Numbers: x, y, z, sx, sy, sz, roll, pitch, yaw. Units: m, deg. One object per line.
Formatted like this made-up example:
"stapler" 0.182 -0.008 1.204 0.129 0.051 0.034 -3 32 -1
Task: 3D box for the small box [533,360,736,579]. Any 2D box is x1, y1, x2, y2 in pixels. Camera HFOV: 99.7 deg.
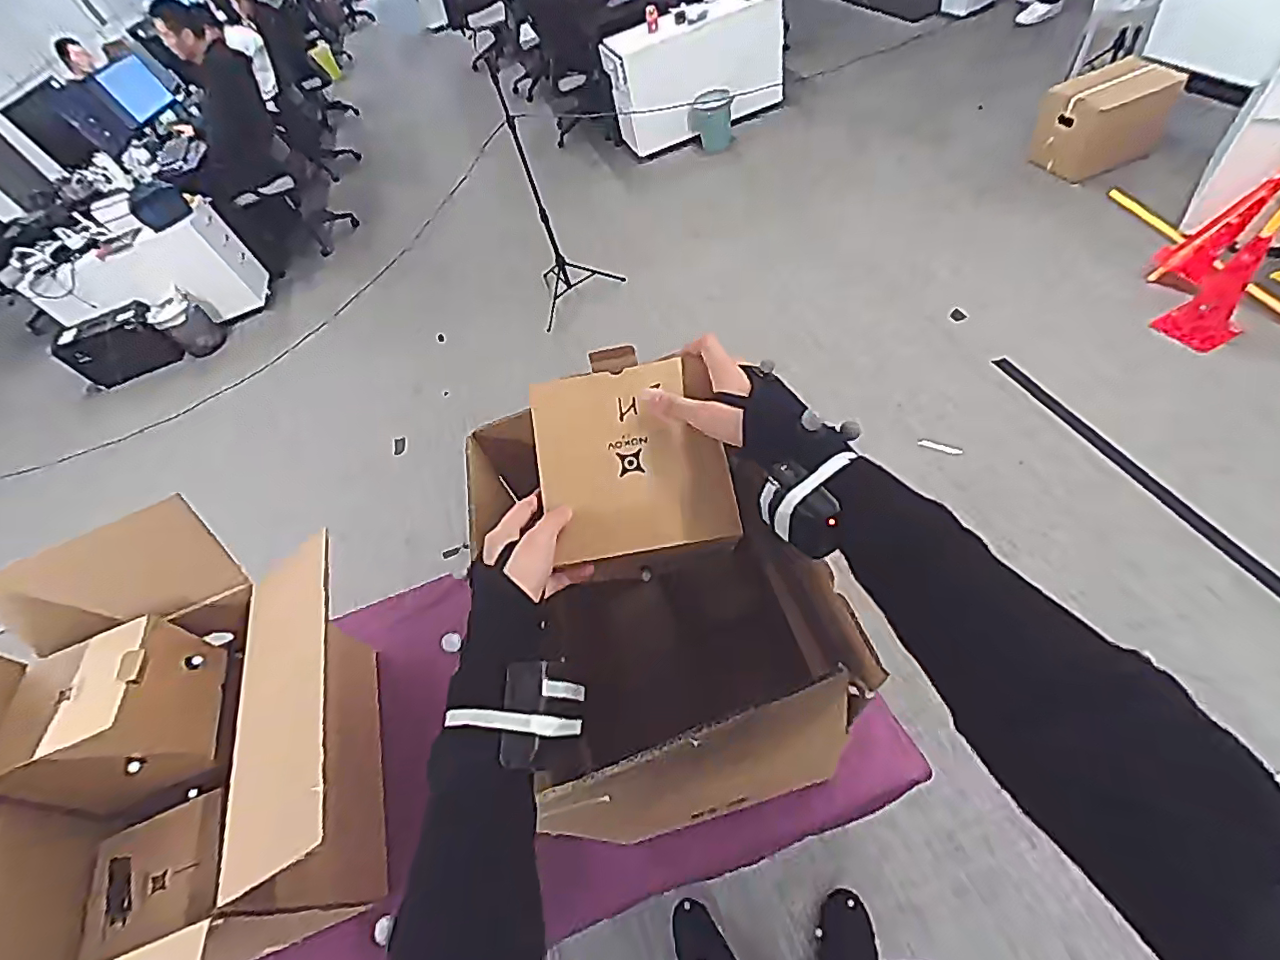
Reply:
"small box" -0.005 0.003 0.561 0.168 0.176 0.179 -9 72 0
